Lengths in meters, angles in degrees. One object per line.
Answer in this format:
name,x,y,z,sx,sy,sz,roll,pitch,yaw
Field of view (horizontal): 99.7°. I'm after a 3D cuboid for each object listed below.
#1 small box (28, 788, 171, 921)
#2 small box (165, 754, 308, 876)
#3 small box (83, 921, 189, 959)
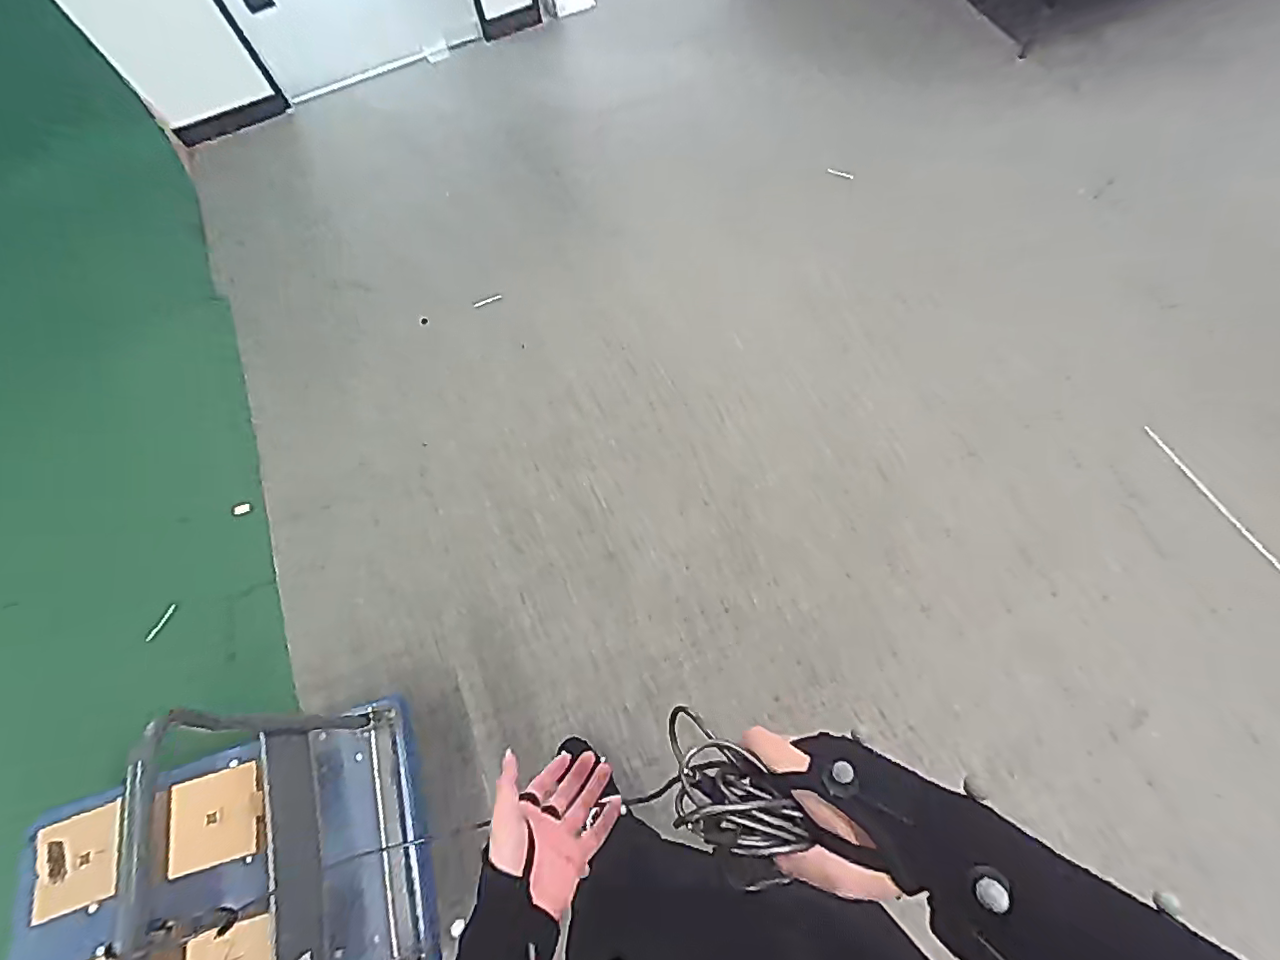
small box,-1.081,0.758,1.117,0.179,0.176,0.168,-19,68,-5
small box,-0.833,0.690,1.132,0.179,0.176,0.168,-16,67,-4
small box,-0.998,0.982,1.020,0.179,0.176,0.168,-21,67,-5
